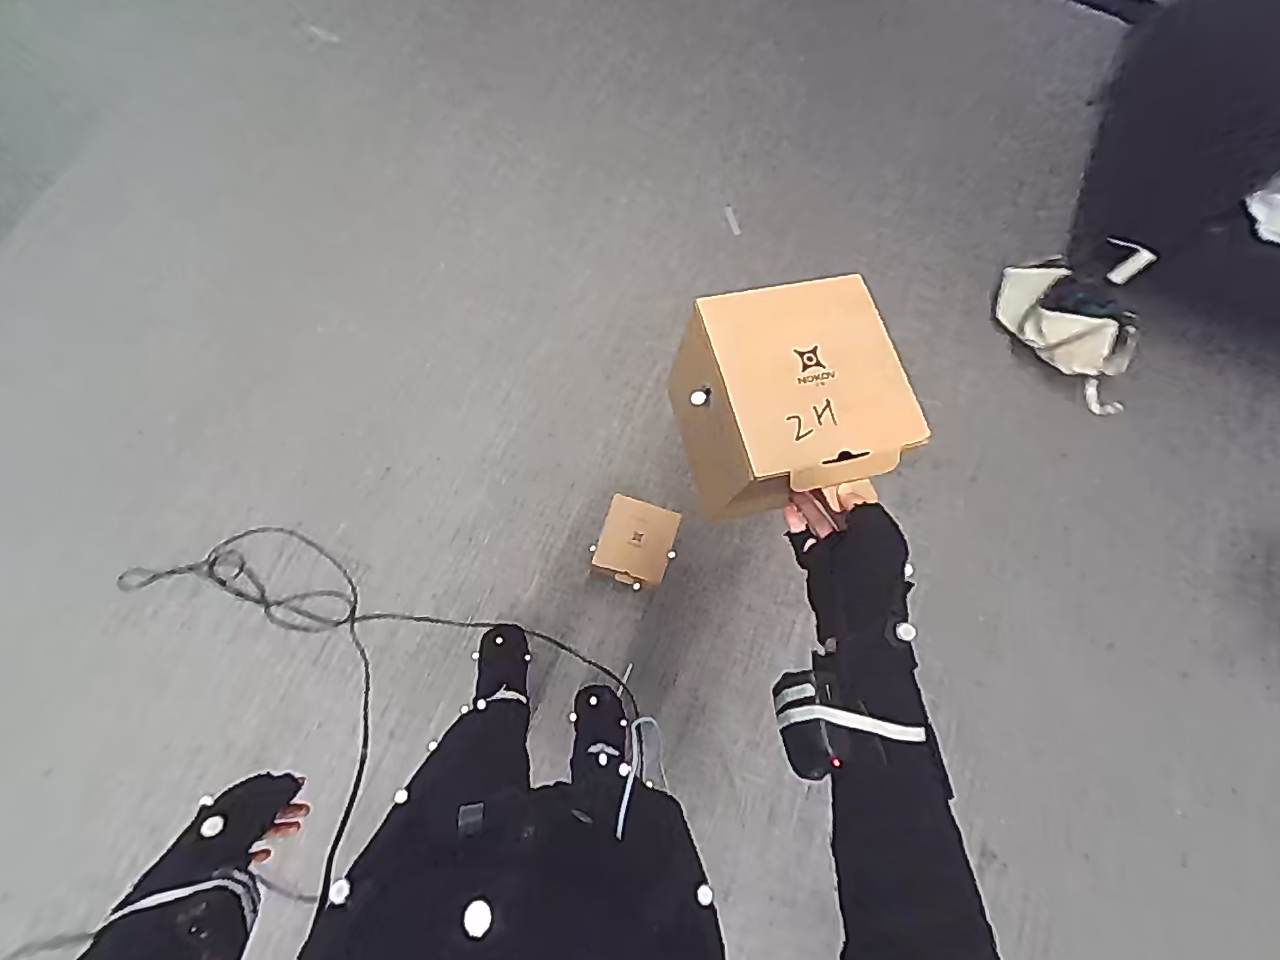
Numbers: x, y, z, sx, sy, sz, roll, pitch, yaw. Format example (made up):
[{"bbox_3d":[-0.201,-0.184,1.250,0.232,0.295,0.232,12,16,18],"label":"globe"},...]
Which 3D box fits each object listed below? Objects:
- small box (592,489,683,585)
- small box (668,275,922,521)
[{"bbox_3d":[-0.009,0.144,1.294,0.168,0.176,0.179,19,75,0],"label":"small box"},{"bbox_3d":[0.136,-0.074,0.549,0.168,0.176,0.179,-13,75,-10],"label":"small box"}]
